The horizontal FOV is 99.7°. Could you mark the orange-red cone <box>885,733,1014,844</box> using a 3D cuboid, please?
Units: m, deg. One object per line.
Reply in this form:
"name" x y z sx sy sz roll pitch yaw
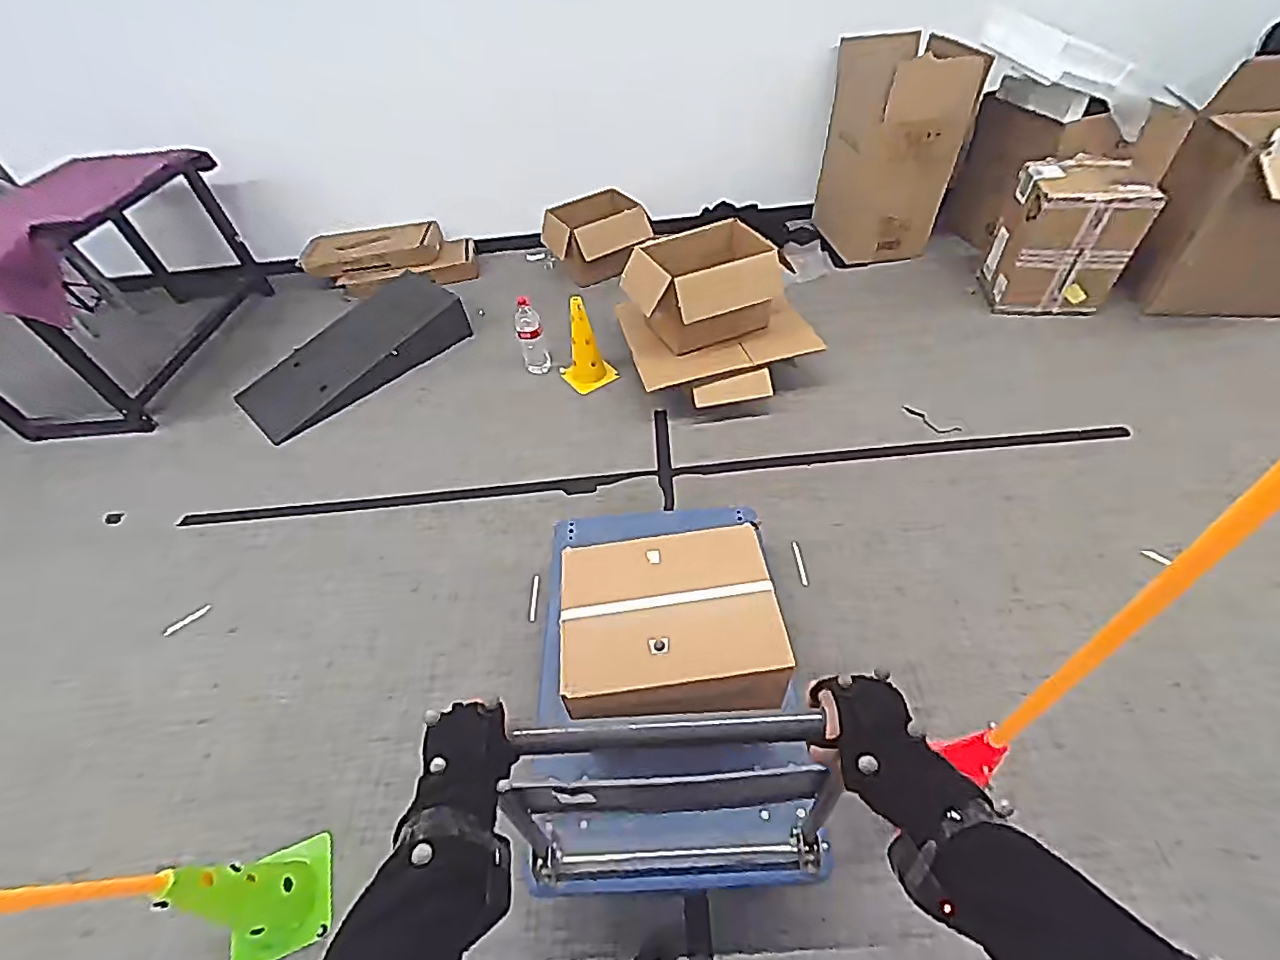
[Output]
"orange-red cone" 0.645 0.571 1.068 0.199 0.360 0.198 1 49 6
